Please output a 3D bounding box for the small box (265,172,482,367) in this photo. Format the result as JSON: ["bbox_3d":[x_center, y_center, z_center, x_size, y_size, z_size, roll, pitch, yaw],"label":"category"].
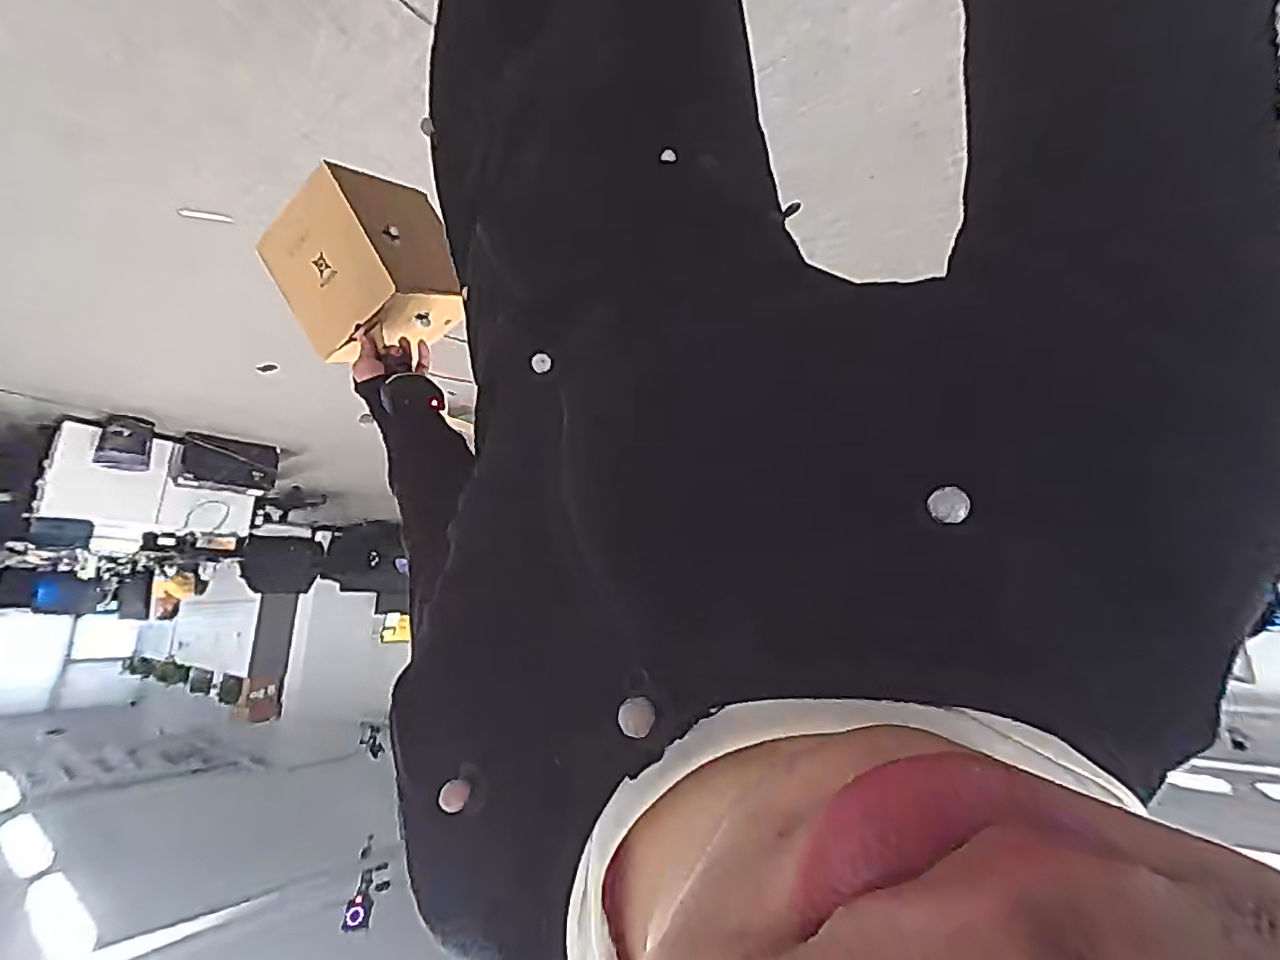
[{"bbox_3d":[-0.354,-0.275,0.742,0.168,0.179,0.176,-28,-178,25],"label":"small box"}]
